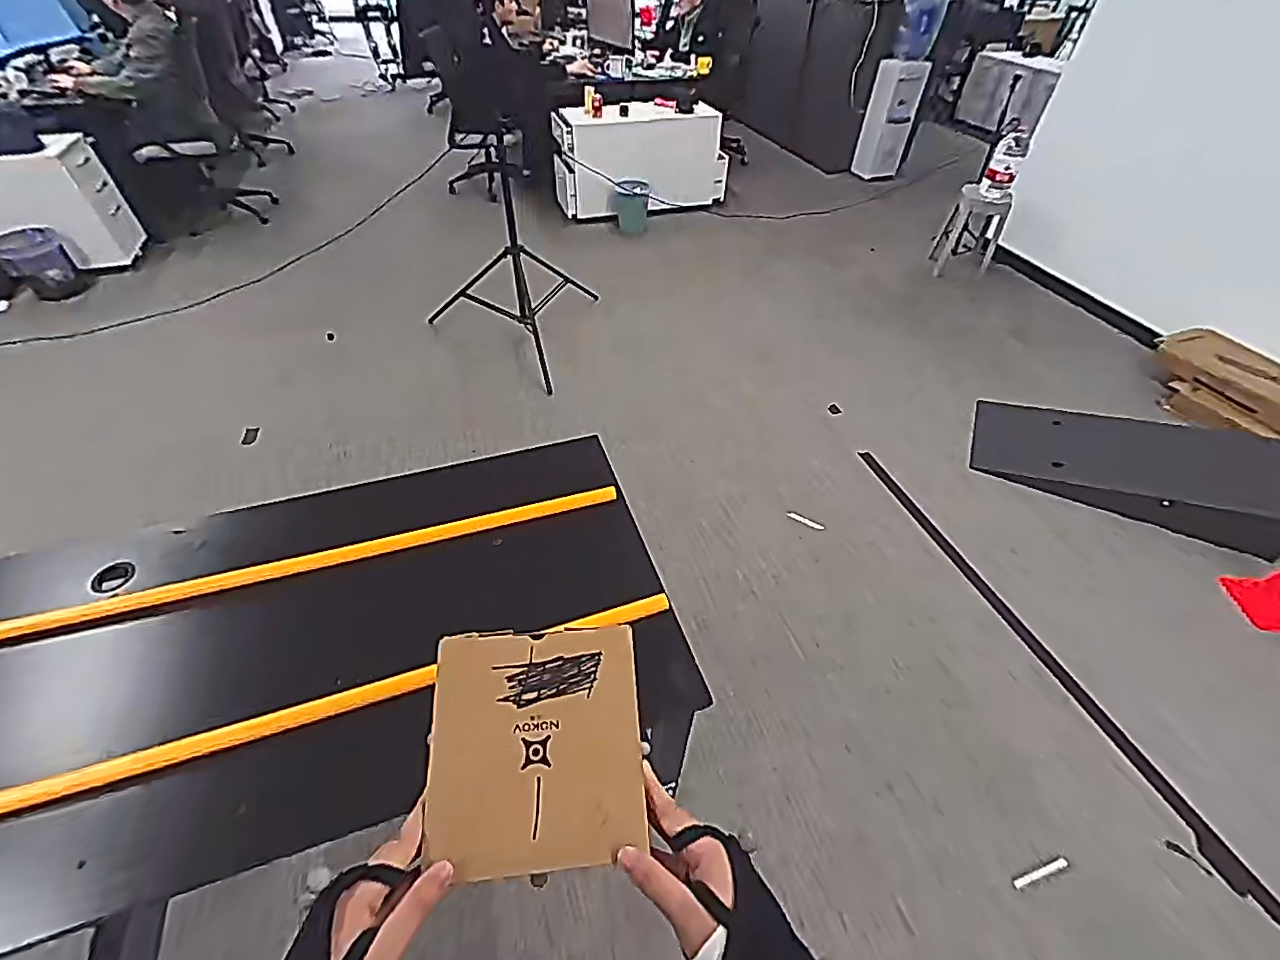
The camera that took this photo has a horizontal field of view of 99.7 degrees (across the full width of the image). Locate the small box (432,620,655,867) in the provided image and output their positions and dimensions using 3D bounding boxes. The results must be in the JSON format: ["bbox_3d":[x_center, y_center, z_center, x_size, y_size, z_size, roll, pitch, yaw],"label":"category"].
[{"bbox_3d":[-0.085,0.246,0.508,0.168,0.176,0.179,-2,58,-8],"label":"small box"}]
